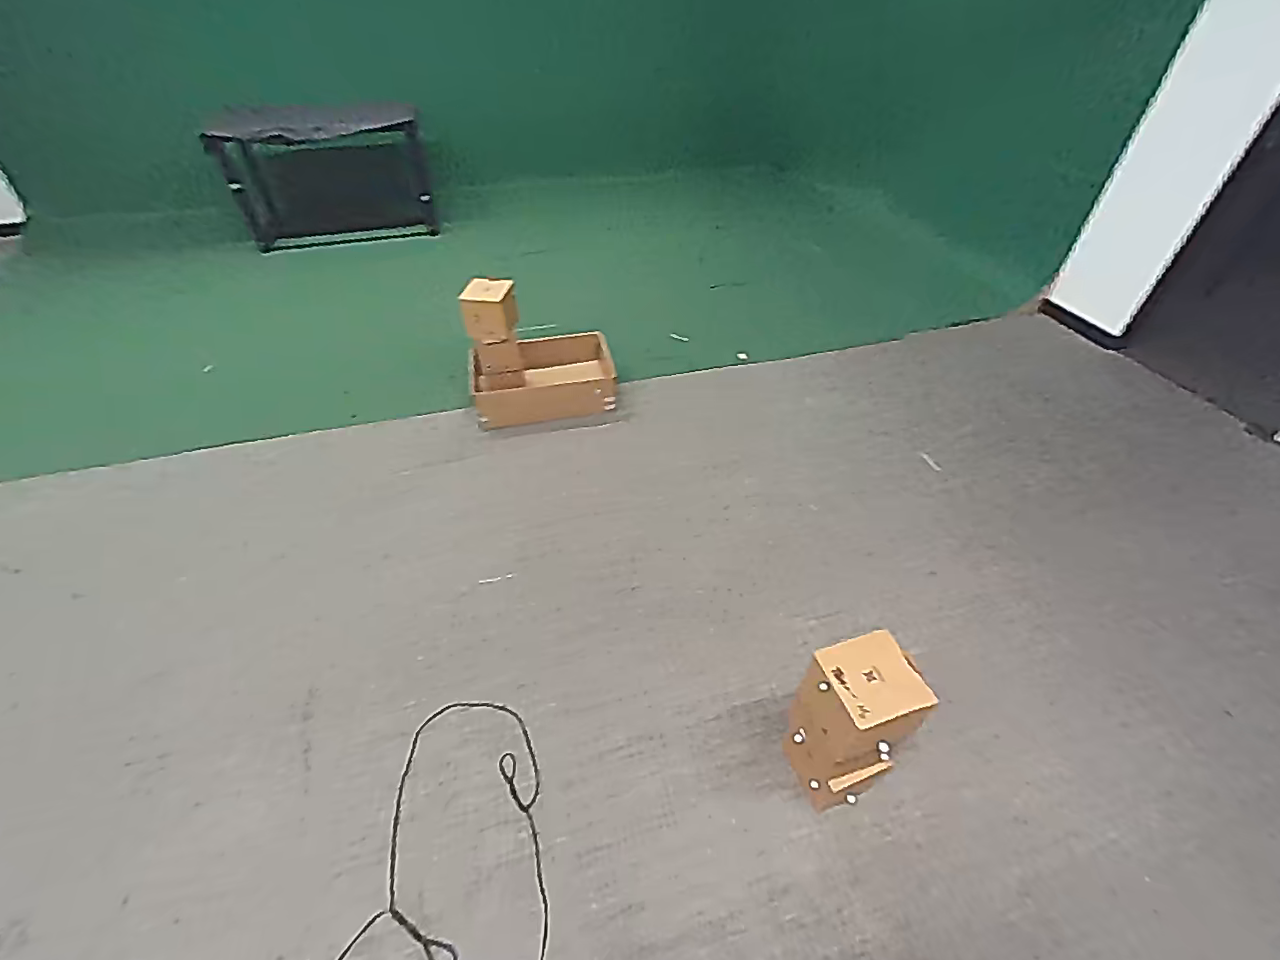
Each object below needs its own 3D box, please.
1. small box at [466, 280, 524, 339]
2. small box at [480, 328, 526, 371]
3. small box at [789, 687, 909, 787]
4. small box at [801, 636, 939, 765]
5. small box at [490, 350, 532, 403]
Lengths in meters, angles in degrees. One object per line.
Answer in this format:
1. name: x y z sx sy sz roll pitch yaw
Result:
1. small box: -0.579 -0.688 2.186 0.168 0.176 0.179 6 44 5
2. small box: -0.585 -0.577 2.305 0.168 0.176 0.179 -9 45 -11
3. small box: 0.460 0.562 1.222 0.179 0.176 0.168 -12 45 -11
4. small box: 0.456 0.450 1.102 0.179 0.176 0.168 -11 44 -12
5. small box: -0.583 -0.468 2.428 0.168 0.176 0.179 -11 46 -11
